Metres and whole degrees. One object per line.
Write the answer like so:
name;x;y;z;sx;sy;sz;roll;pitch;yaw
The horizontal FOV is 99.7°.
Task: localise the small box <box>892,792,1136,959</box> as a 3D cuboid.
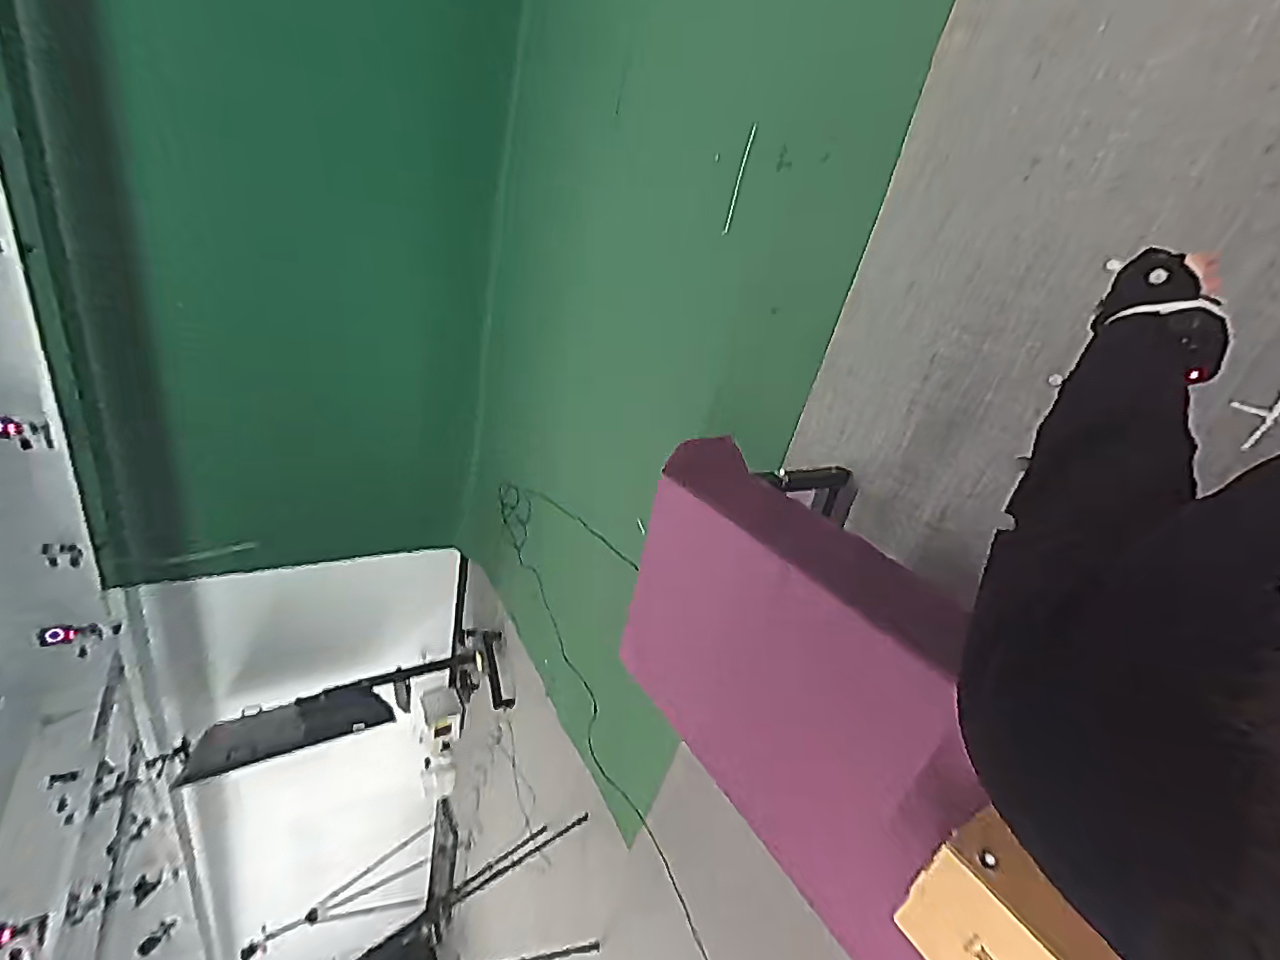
small box;0.474;0.548;0.692;0.179;0.176;0.168;42;127;47
